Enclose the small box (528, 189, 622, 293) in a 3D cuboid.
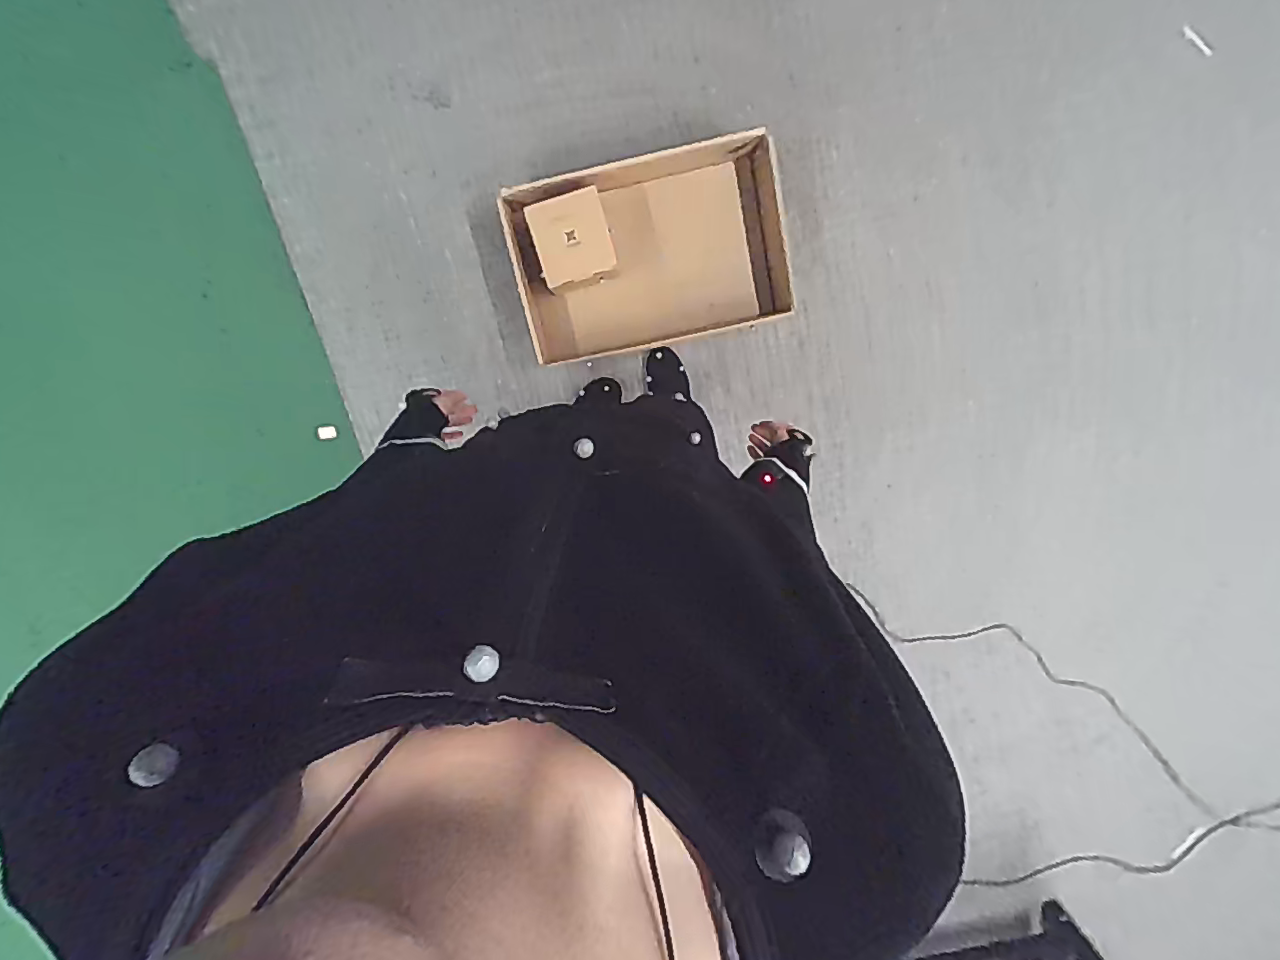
[{"bbox_3d":[-0.141,-0.541,1.253,0.168,0.176,0.179,-15,103,3],"label":"small box"}]
